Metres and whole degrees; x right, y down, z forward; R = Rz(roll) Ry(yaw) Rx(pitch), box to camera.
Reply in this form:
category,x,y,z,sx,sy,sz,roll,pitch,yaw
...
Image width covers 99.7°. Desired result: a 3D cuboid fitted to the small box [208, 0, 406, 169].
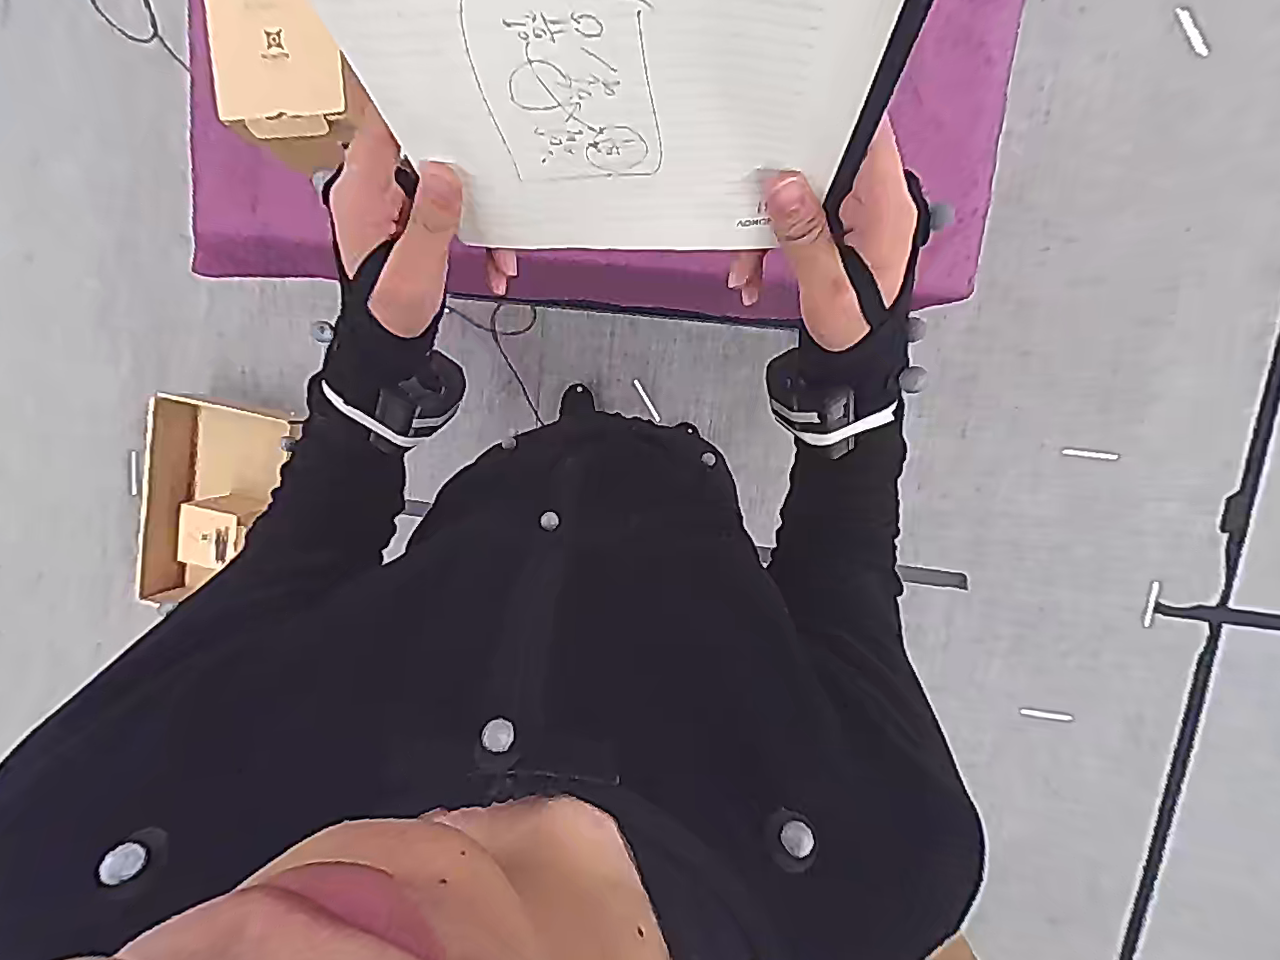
category,x,y,z,sx,sy,sz,roll,pitch,yaw
small box,-0.440,-0.549,0.742,0.168,0.176,0.179,-1,98,3
